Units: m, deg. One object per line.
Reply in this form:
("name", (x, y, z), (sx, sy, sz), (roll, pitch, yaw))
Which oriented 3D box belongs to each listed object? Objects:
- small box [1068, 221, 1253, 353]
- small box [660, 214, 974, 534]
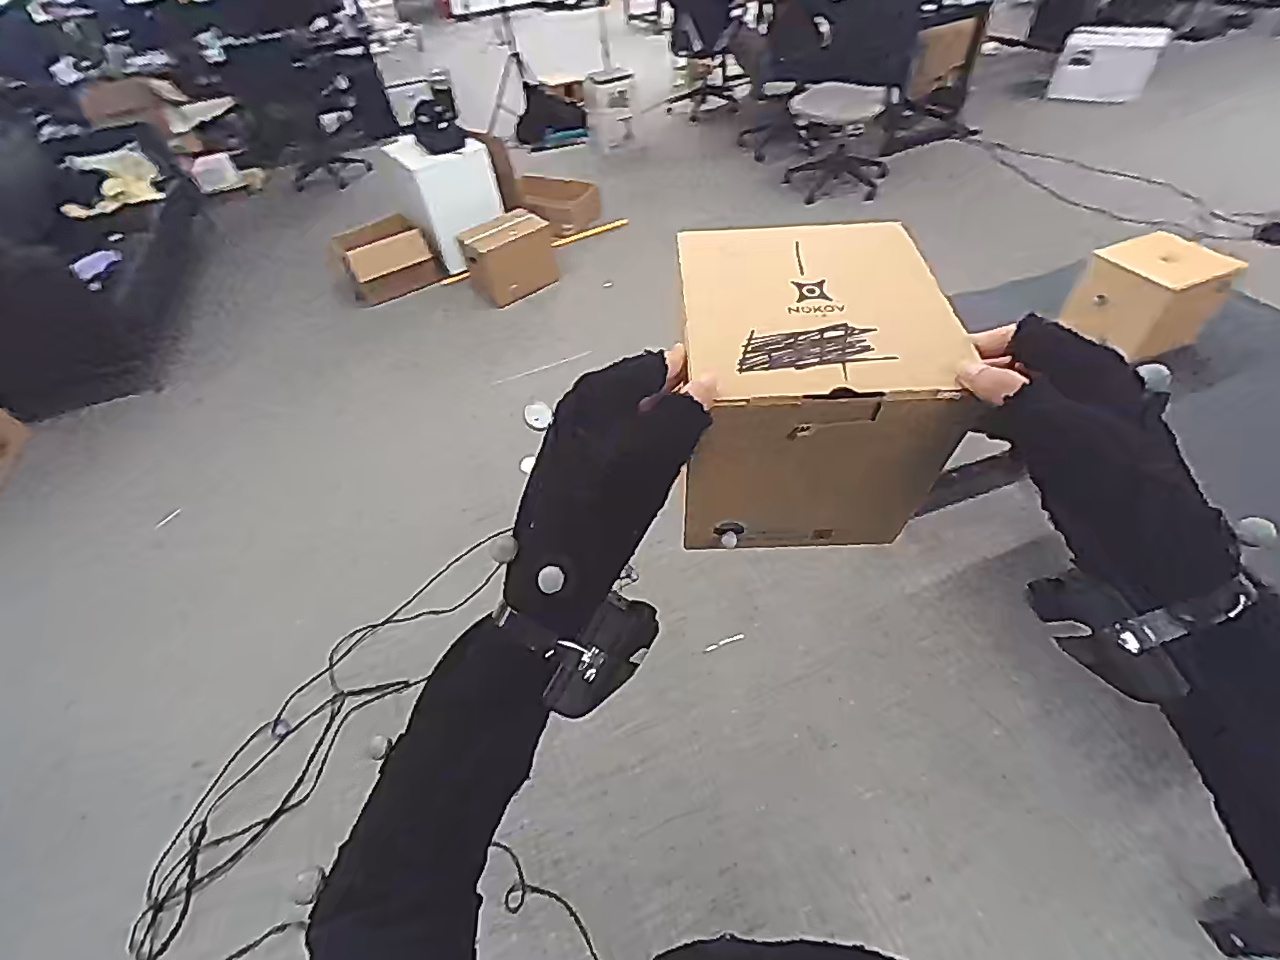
("small box", (0.989, -0.373, 1.054), (0.179, 0.176, 0.168), (-19, 49, -9))
("small box", (0.102, -0.069, 0.405), (0.168, 0.176, 0.179), (-3, 53, 1))
